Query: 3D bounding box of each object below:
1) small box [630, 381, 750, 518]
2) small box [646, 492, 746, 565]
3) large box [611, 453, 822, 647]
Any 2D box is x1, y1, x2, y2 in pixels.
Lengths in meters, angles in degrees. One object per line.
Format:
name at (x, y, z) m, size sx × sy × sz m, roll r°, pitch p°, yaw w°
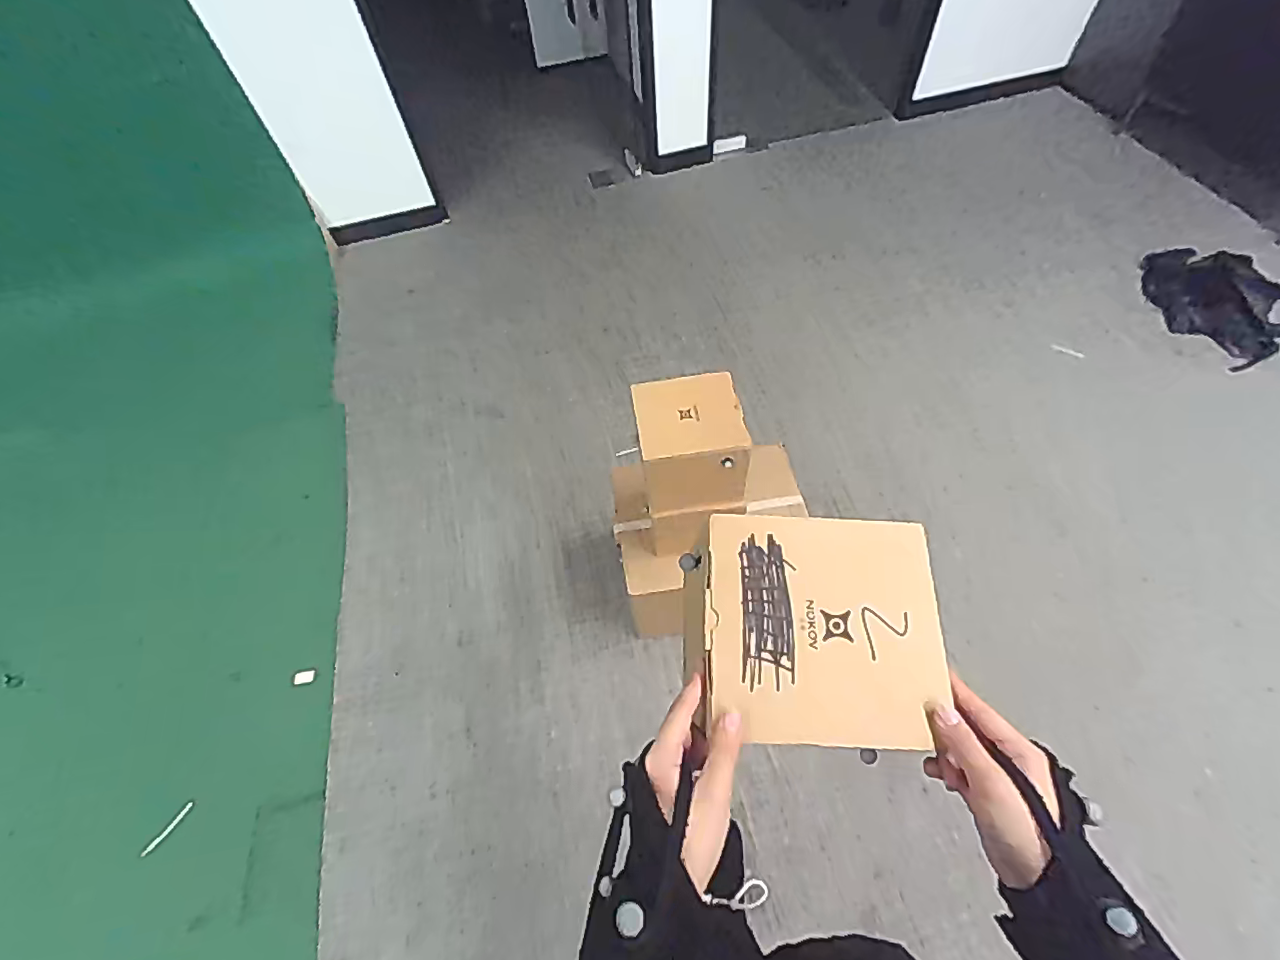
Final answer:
small box at (0.083, -0.048, 0.951) m, size 0.179 × 0.176 × 0.168 m, roll -8°, pitch 55°, yaw -2°
small box at (0.102, 0.053, 1.078) m, size 0.179 × 0.176 × 0.168 m, roll -8°, pitch 55°, yaw 0°
large box at (0.157, 0.174, 1.285) m, size 0.408 × 0.320 × 0.320 m, roll -8°, pitch 58°, yaw -2°
